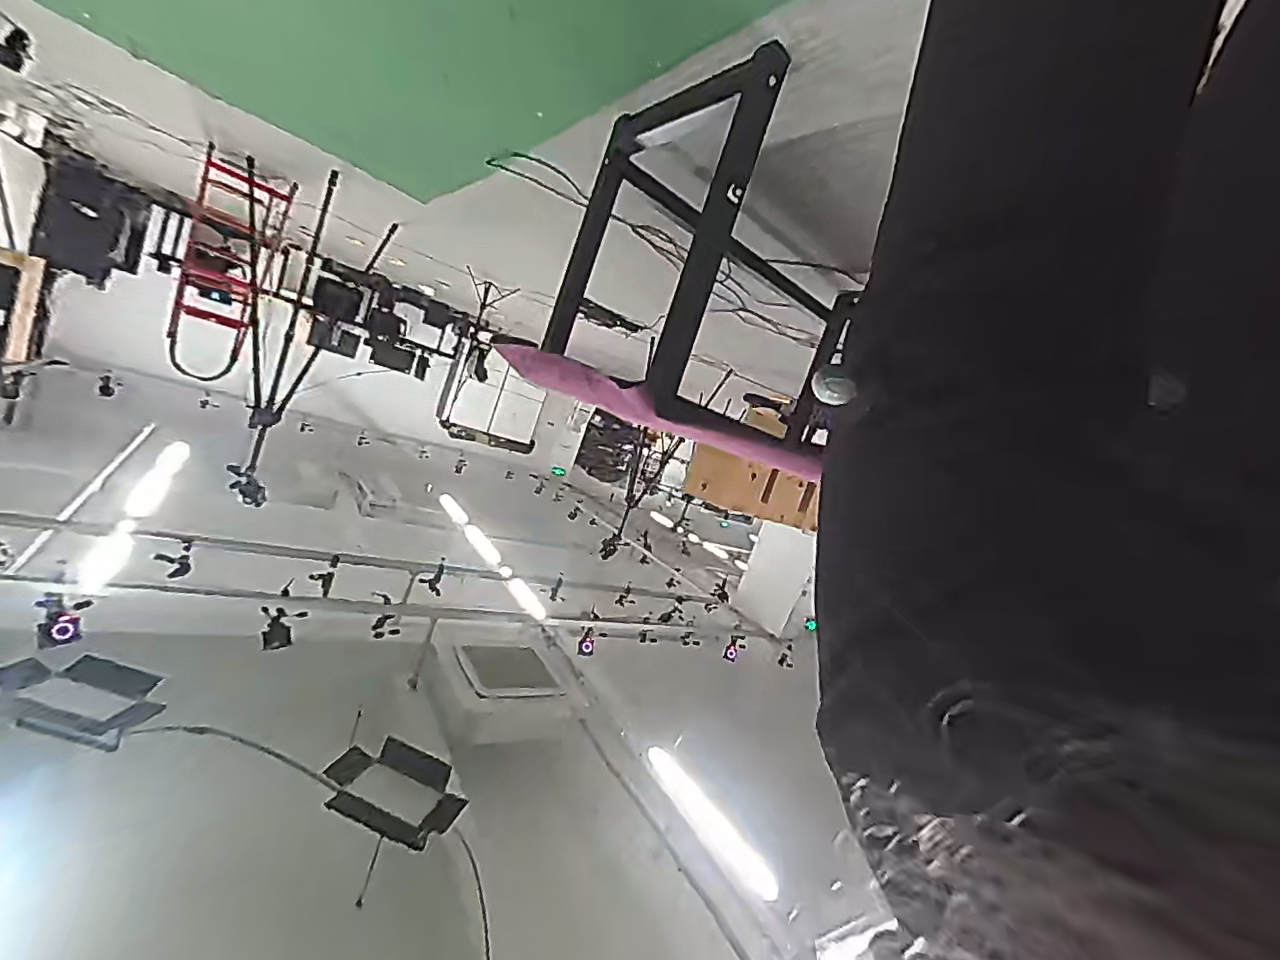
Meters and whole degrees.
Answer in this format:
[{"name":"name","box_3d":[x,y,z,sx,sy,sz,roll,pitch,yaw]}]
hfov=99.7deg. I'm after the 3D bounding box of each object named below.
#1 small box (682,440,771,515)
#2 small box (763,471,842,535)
[{"name":"small box","box_3d":[0.261,-0.013,1.618,0.168,0.176,0.179,16,-174,-39]},{"name":"small box","box_3d":[0.567,0.074,1.884,0.168,0.176,0.179,15,-173,-39]}]
